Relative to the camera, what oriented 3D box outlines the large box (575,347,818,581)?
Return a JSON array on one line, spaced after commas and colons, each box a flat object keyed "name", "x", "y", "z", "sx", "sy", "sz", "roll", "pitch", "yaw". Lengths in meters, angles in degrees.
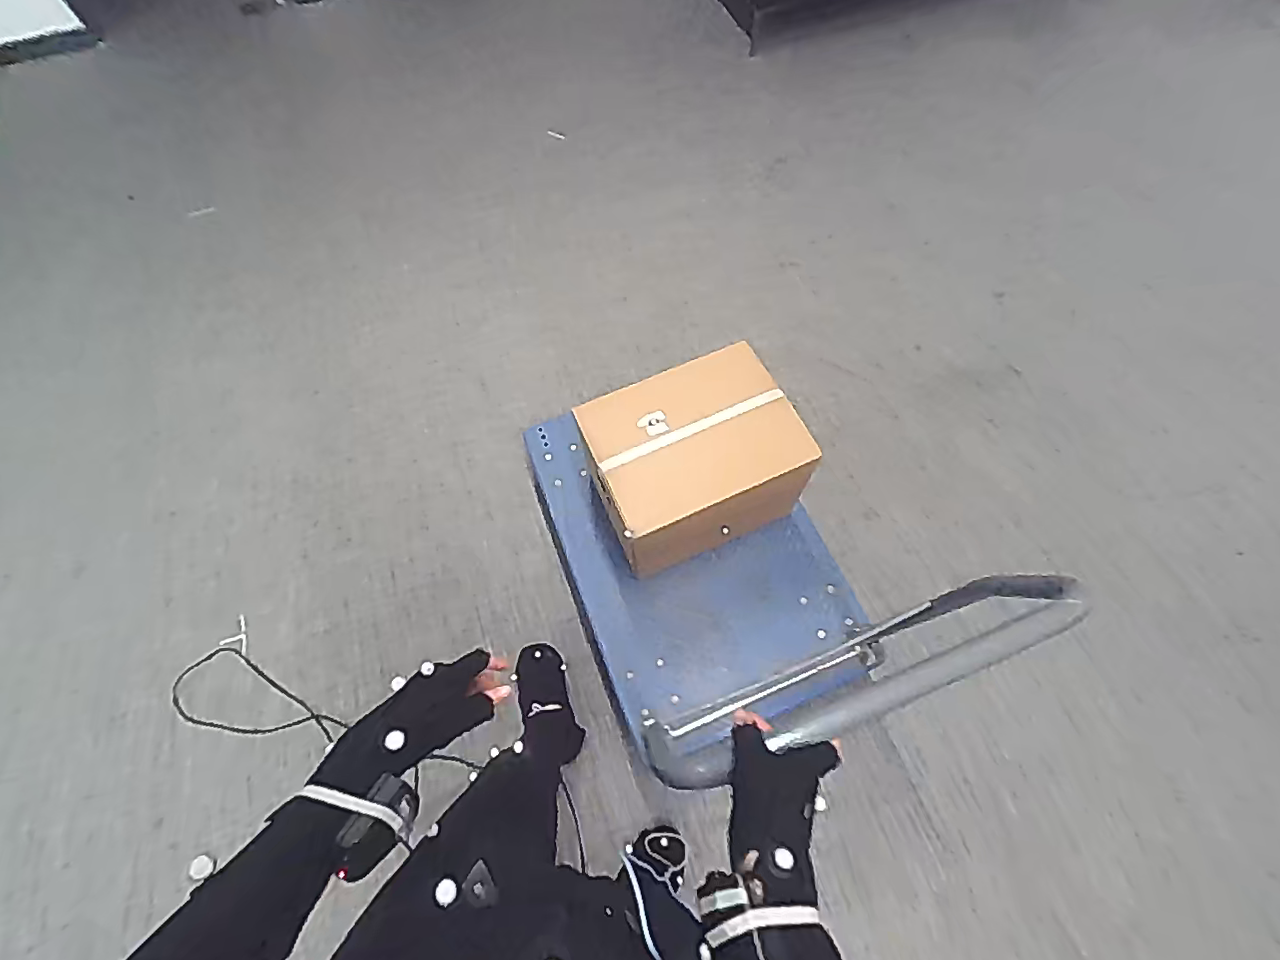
[{"name": "large box", "x": 0.114, "y": -0.024, "z": 1.209, "sx": 0.408, "sy": 0.320, "sz": 0.320, "roll": -24, "pitch": 66, "yaw": -7}]
